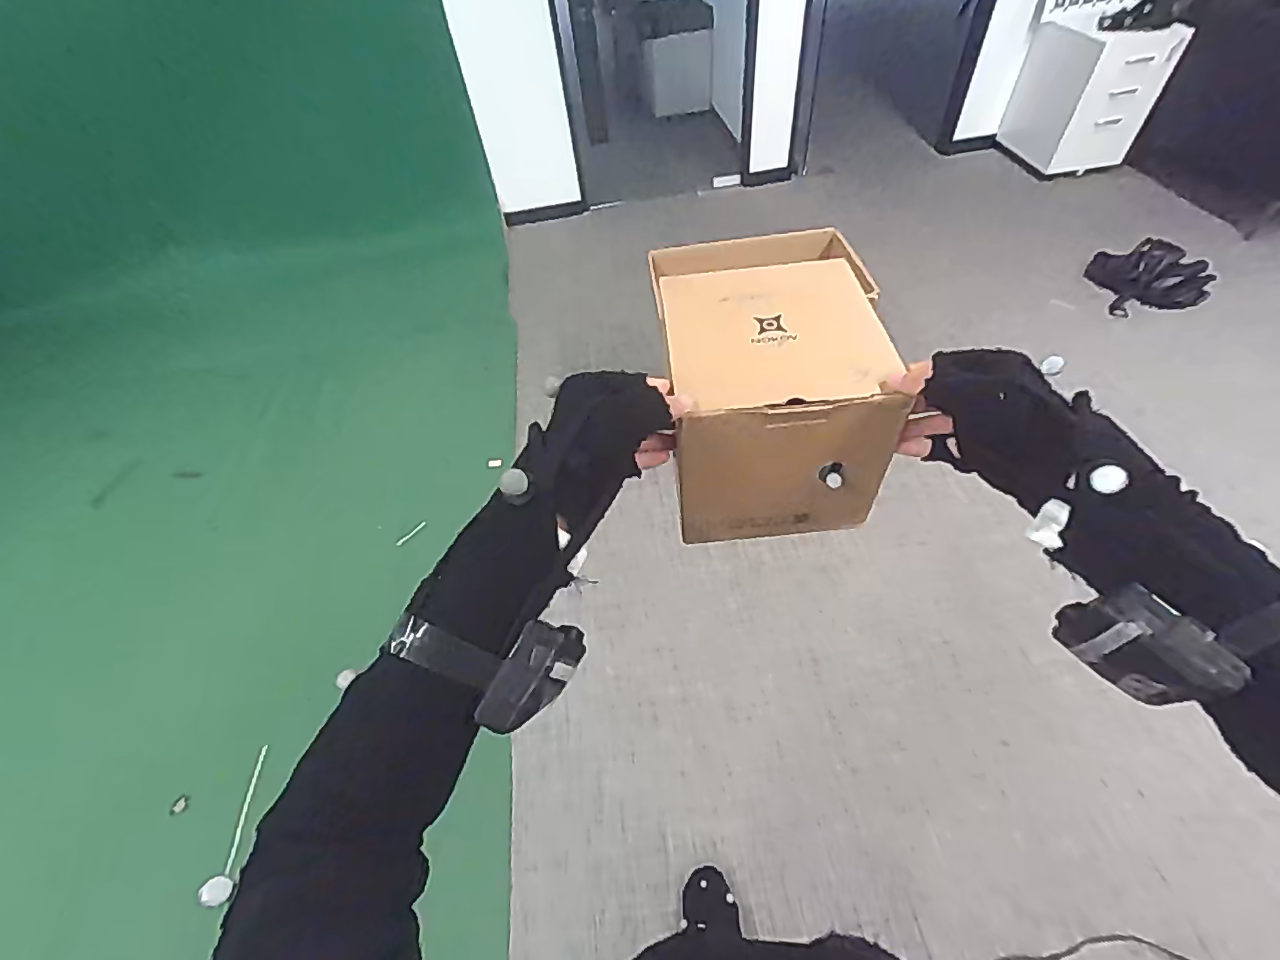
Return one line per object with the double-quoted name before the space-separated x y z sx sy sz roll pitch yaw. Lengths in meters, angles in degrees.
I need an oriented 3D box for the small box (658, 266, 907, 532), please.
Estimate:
"small box" 0.109 -0.065 0.490 0.168 0.176 0.179 -6 50 1
